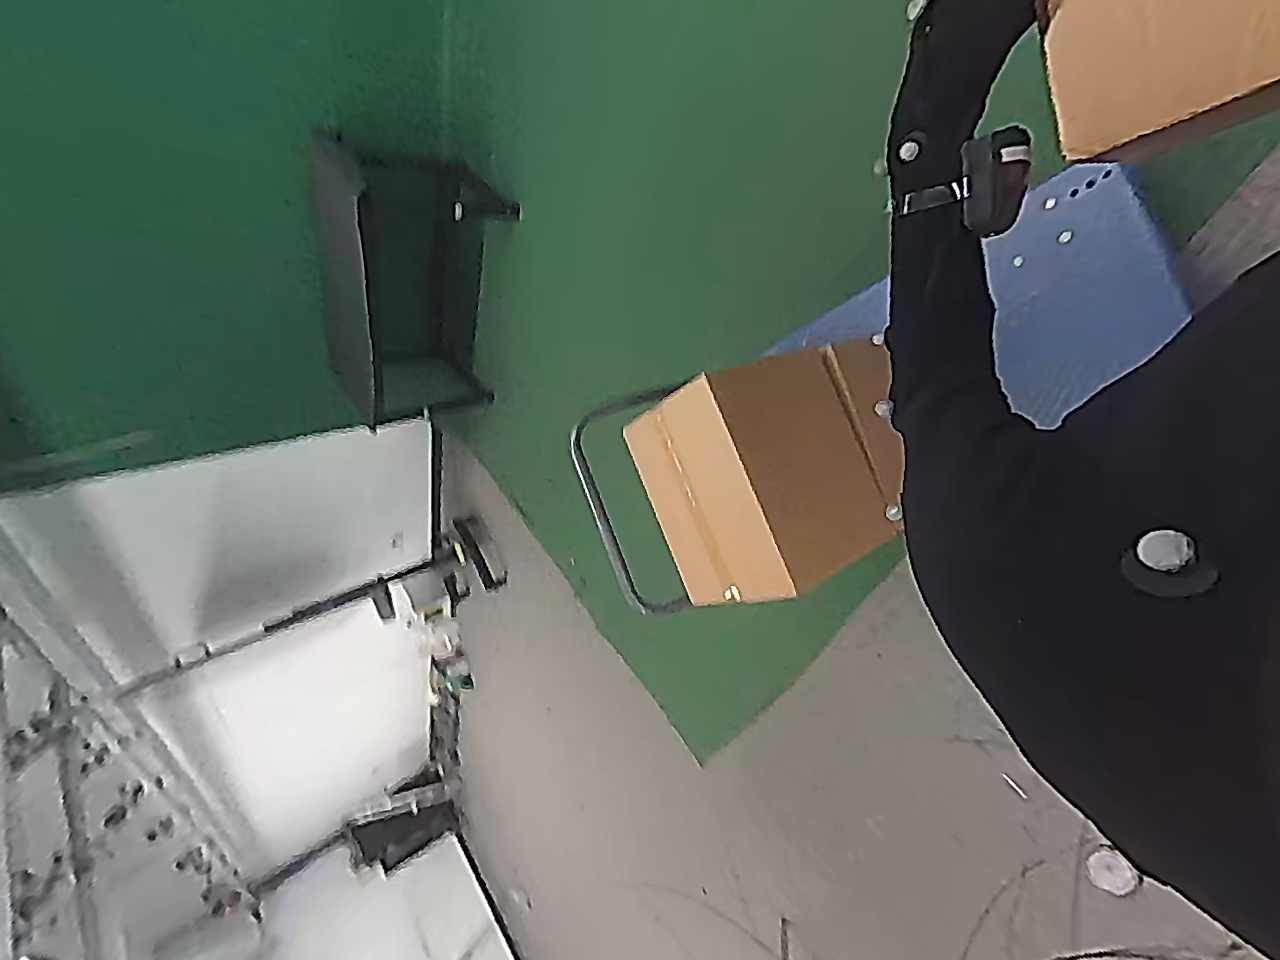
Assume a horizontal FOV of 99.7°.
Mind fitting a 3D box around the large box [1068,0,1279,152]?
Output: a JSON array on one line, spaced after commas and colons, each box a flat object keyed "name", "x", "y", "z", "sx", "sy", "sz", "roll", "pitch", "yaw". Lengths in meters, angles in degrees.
[{"name": "large box", "x": 0.484, "y": -0.435, "z": 0.280, "sx": 0.408, "sy": 0.320, "sz": 0.320, "roll": -6, "pitch": 107, "yaw": 49}]
